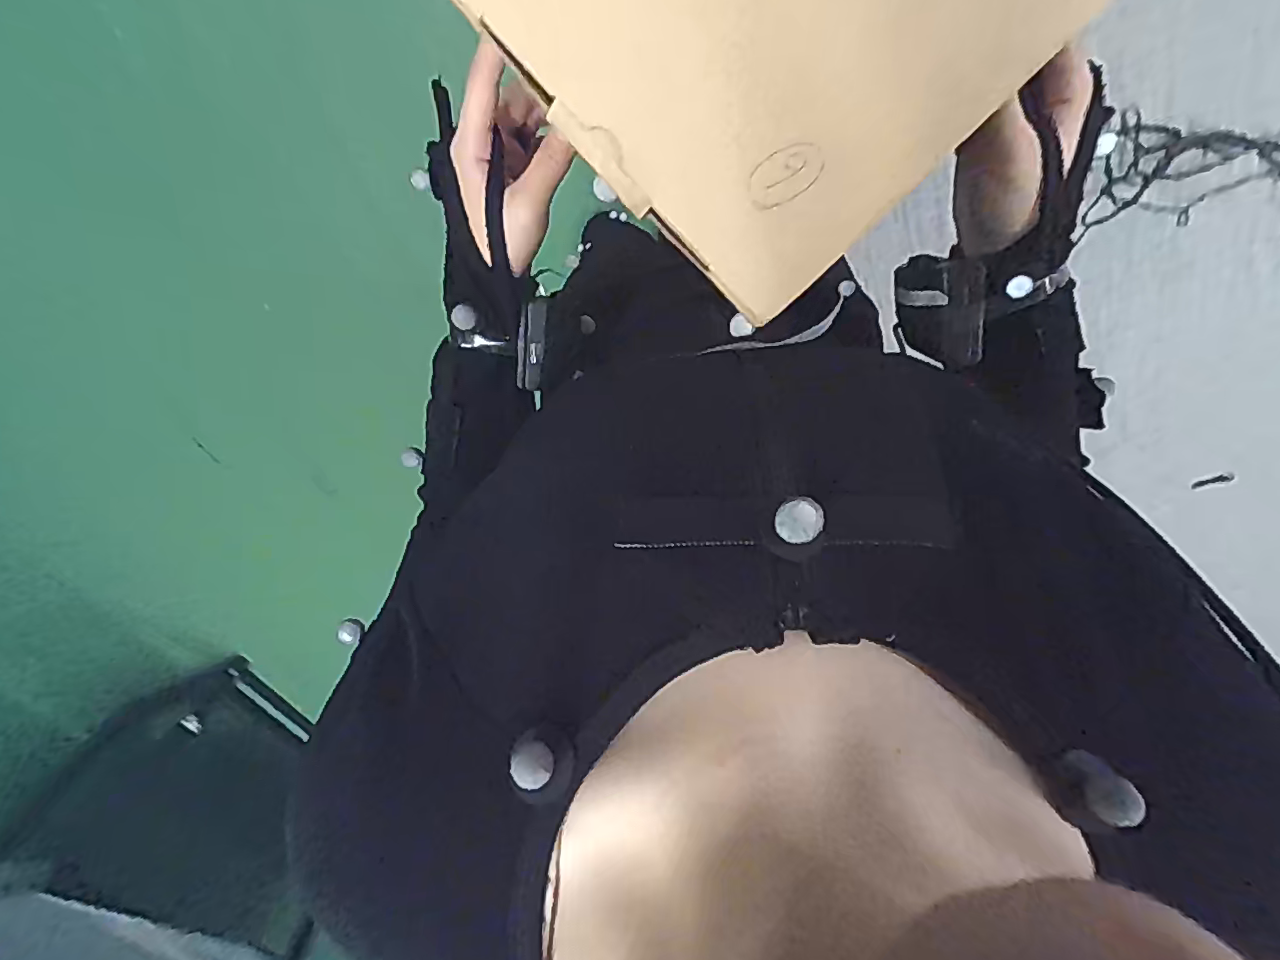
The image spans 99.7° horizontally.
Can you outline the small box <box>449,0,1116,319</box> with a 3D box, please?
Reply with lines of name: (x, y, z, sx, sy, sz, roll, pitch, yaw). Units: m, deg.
small box: (0.052, -0.200, 0.222, 0.168, 0.176, 0.179, 42, 114, -17)
